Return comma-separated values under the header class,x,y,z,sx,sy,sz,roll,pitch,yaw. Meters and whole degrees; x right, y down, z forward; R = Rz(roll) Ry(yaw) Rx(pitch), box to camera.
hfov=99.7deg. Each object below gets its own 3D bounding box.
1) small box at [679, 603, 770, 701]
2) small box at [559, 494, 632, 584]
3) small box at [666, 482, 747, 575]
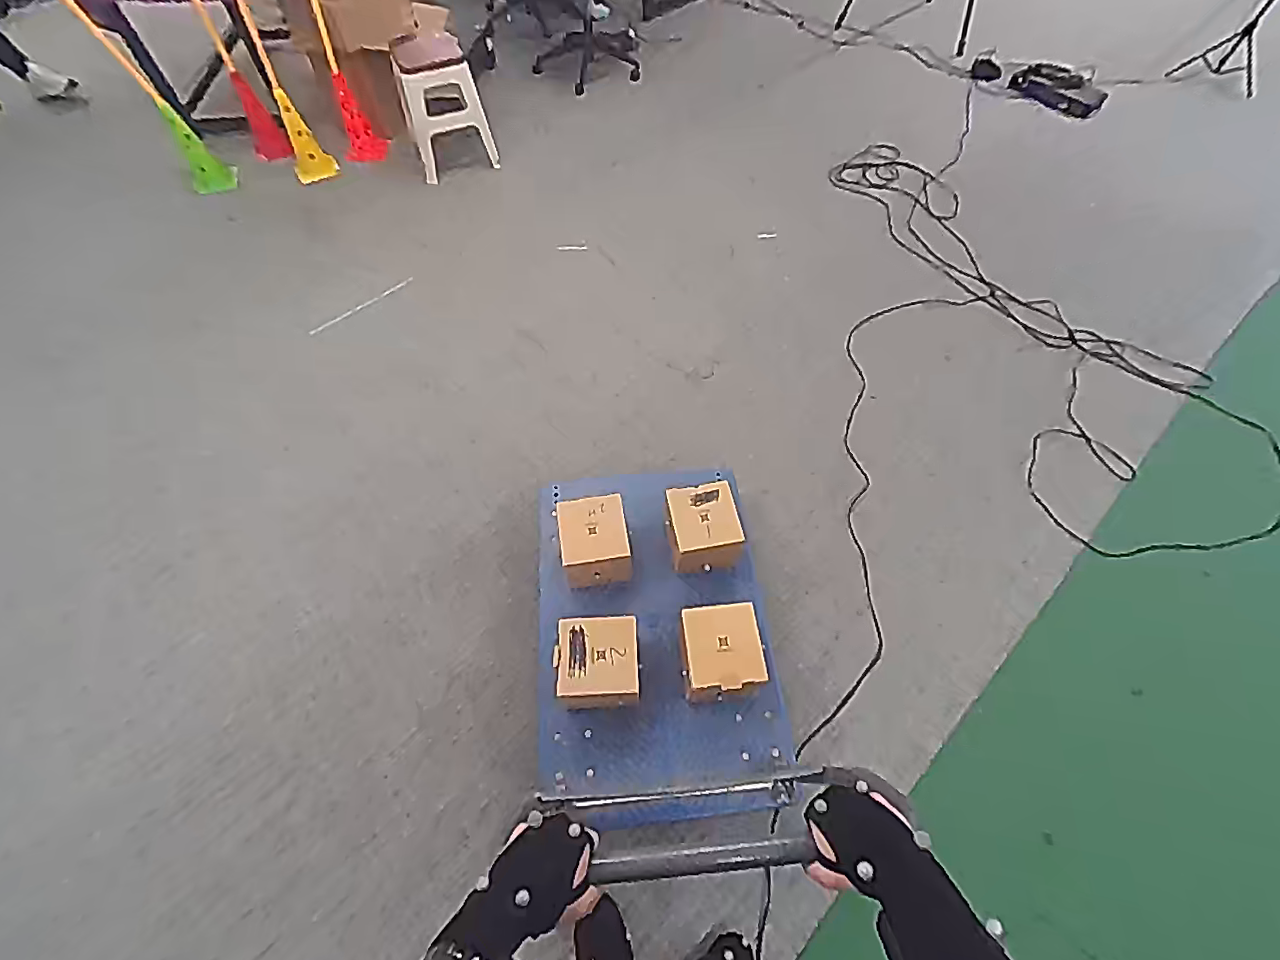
class,x,y,z,sx,sy,sz,roll,pitch,yaw
small box,0.186,0.401,1.251,0.168,0.176,0.179,-5,60,-3
small box,-0.113,0.158,1.390,0.168,0.176,0.179,-7,60,-5
small box,0.164,0.128,1.410,0.168,0.176,0.179,-9,61,-5
